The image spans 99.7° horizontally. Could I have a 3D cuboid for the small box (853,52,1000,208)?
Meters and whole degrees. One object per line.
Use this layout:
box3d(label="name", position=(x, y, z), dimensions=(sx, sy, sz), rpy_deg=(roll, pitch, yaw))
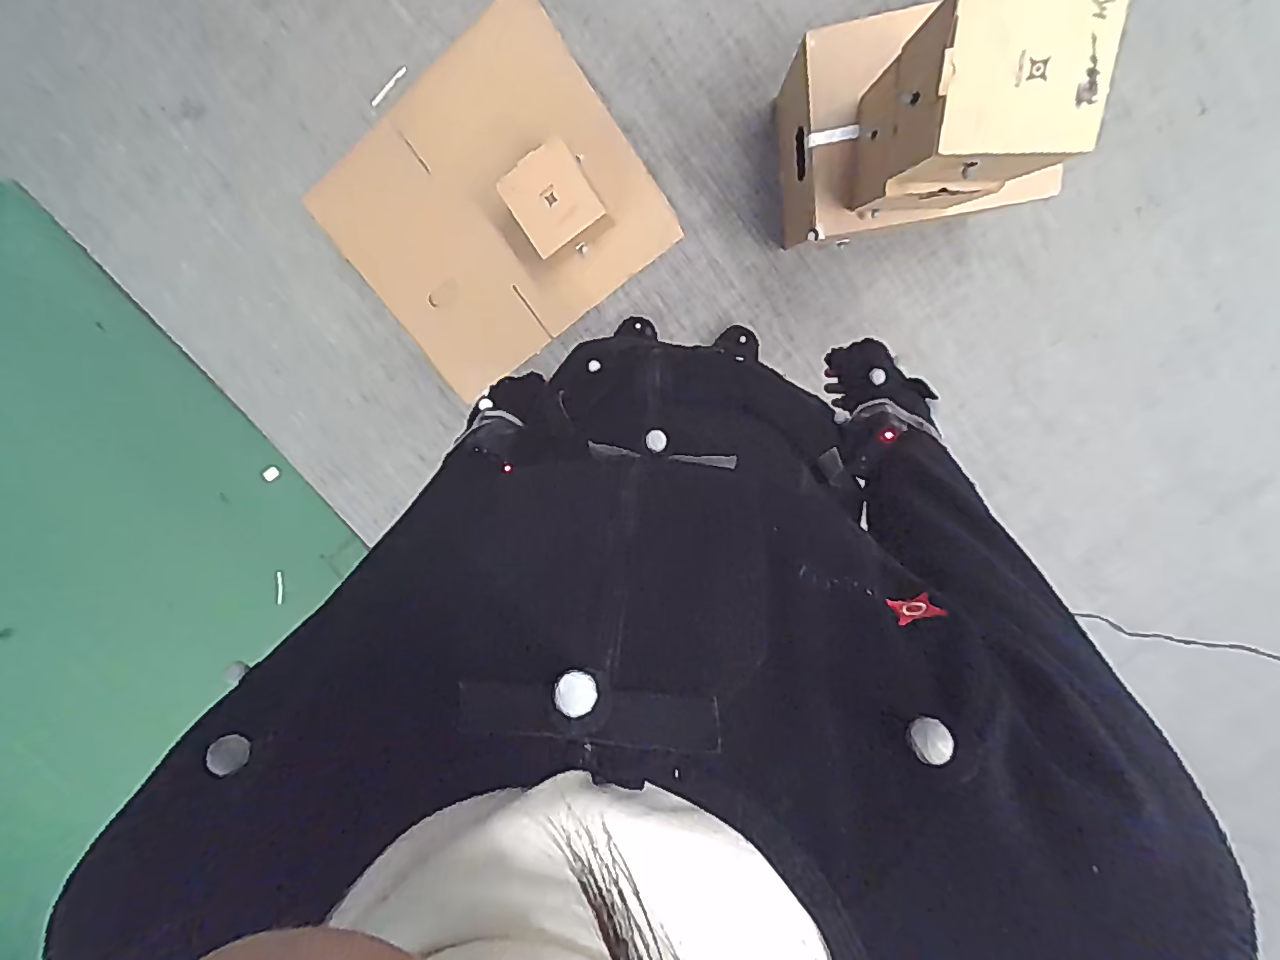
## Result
box3d(label="small box", position=(0.435, -0.521, 0.824), dimensions=(0.168, 0.176, 0.179), rpy_deg=(0, 109, 5))

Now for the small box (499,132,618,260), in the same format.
box3d(label="small box", position=(-0.167, -0.596, 1.167), dimensions=(0.168, 0.176, 0.179), rpy_deg=(-31, 104, 15))

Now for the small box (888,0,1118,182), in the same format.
box3d(label="small box", position=(0.427, -0.480, 0.668), dimensions=(0.179, 0.176, 0.168), rpy_deg=(-1, 107, 5))
